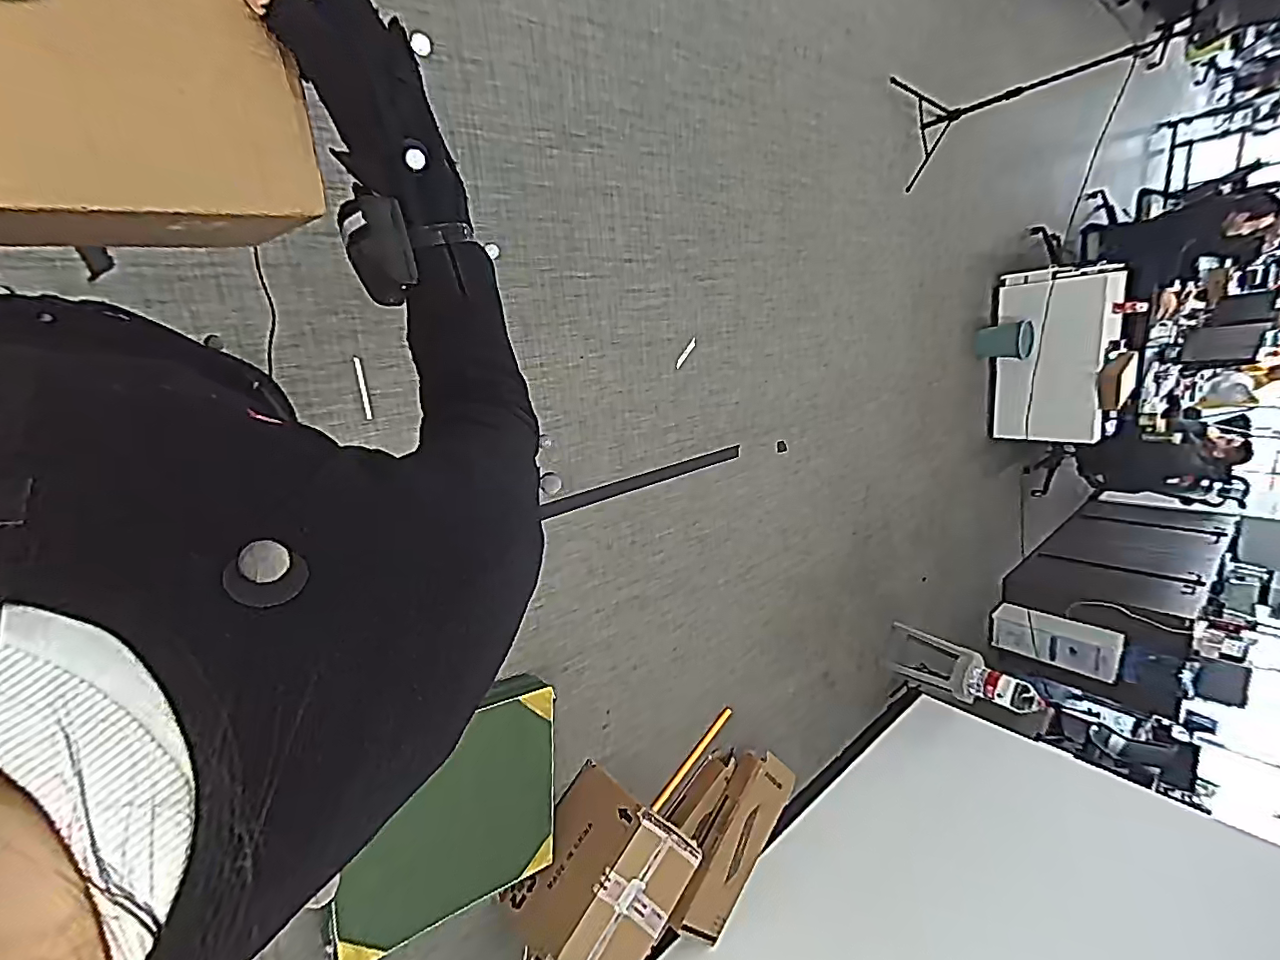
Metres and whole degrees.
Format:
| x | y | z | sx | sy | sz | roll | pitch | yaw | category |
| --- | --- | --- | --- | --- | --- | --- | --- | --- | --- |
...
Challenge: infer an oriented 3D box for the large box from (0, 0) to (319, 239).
| x | y | z | sx | sy | sz | roll | pitch | yaw | category |
| --- | --- | --- | --- | --- | --- | --- | --- | --- | --- |
| -0.480 | -0.315 | 0.310 | 0.408 | 0.320 | 0.320 | -21 | 119 | -38 | large box |
